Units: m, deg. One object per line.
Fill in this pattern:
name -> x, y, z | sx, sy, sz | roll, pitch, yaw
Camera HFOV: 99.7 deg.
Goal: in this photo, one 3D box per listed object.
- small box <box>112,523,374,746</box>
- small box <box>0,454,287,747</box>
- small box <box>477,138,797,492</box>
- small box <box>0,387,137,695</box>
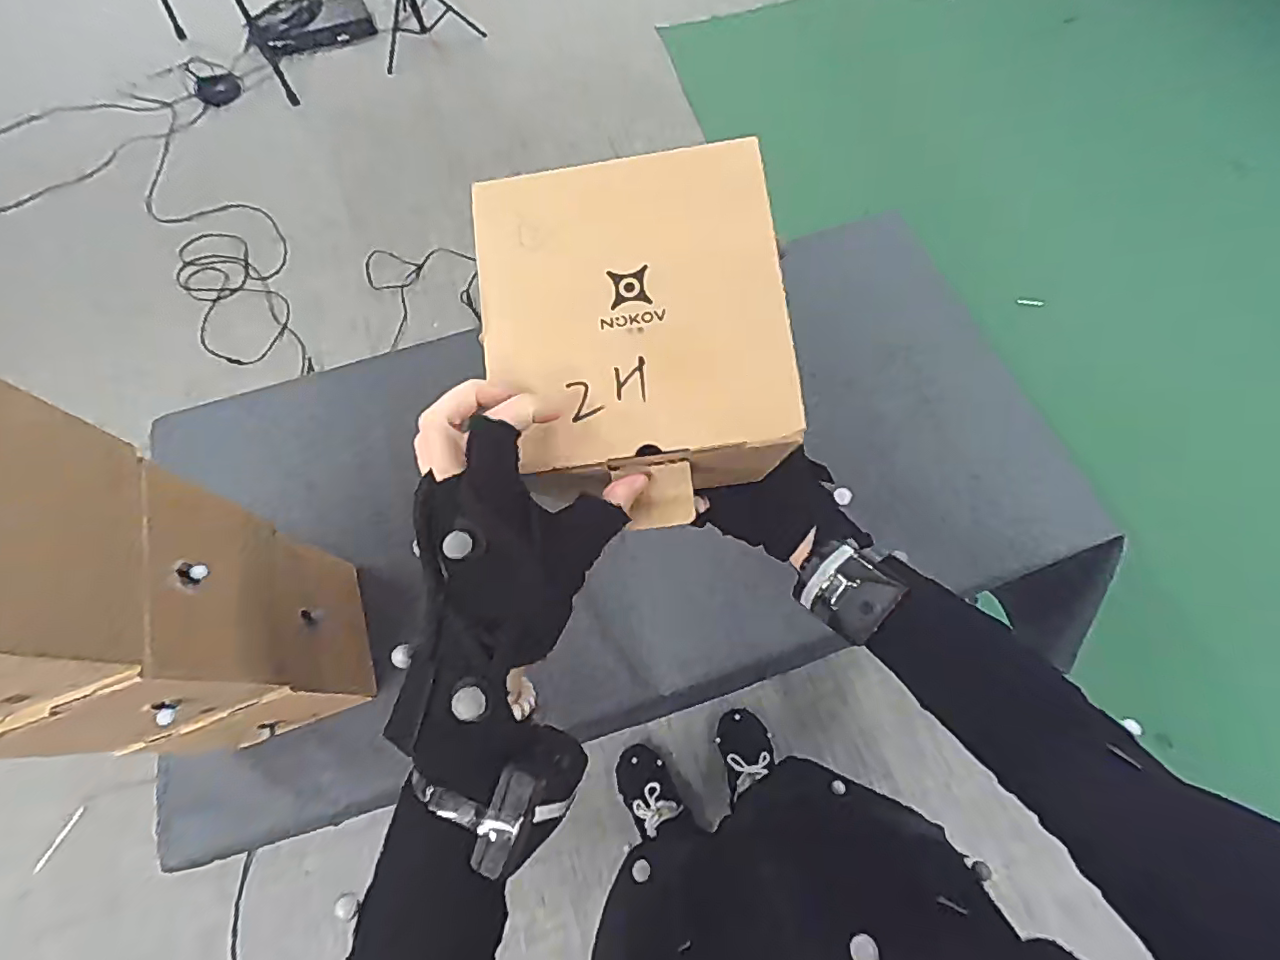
small box -> -0.425, 0.174, 0.602 | 0.168, 0.176, 0.179 | -19, 69, -6
small box -> -0.429, 0.108, 0.453 | 0.168, 0.176, 0.179 | -18, 68, -7
small box -> -0.001, -0.089, 0.369 | 0.168, 0.176, 0.179 | -5, 85, 3
small box -> -0.436, 0.039, 0.305 | 0.168, 0.176, 0.179 | -19, 68, -8
